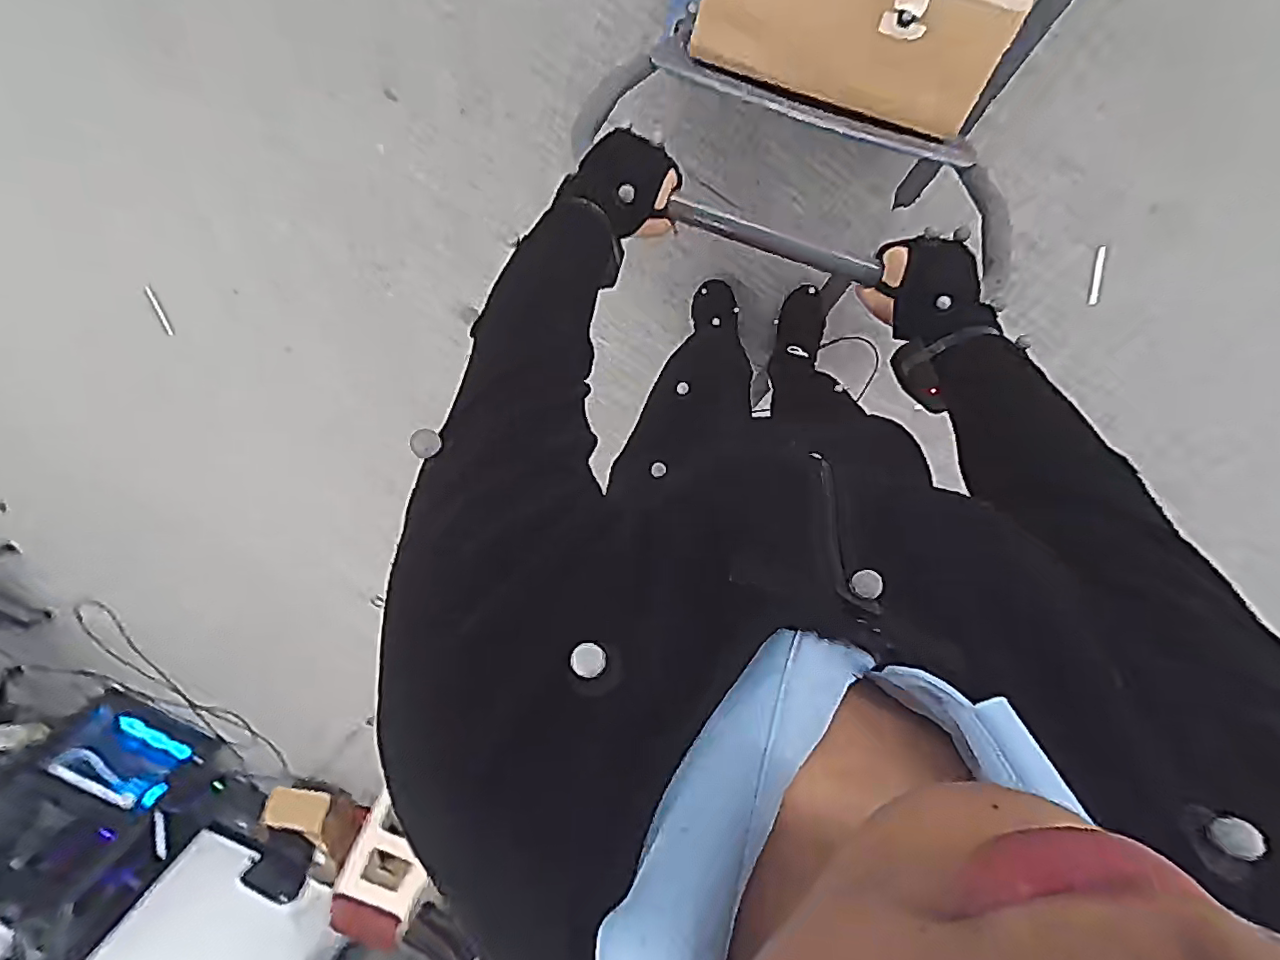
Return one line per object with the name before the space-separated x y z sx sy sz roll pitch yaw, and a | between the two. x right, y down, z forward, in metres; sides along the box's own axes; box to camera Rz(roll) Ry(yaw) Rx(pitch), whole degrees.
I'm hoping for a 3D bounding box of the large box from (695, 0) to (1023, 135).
large box | 0.328 -0.762 0.799 0.408 0.320 0.320 18 134 1
